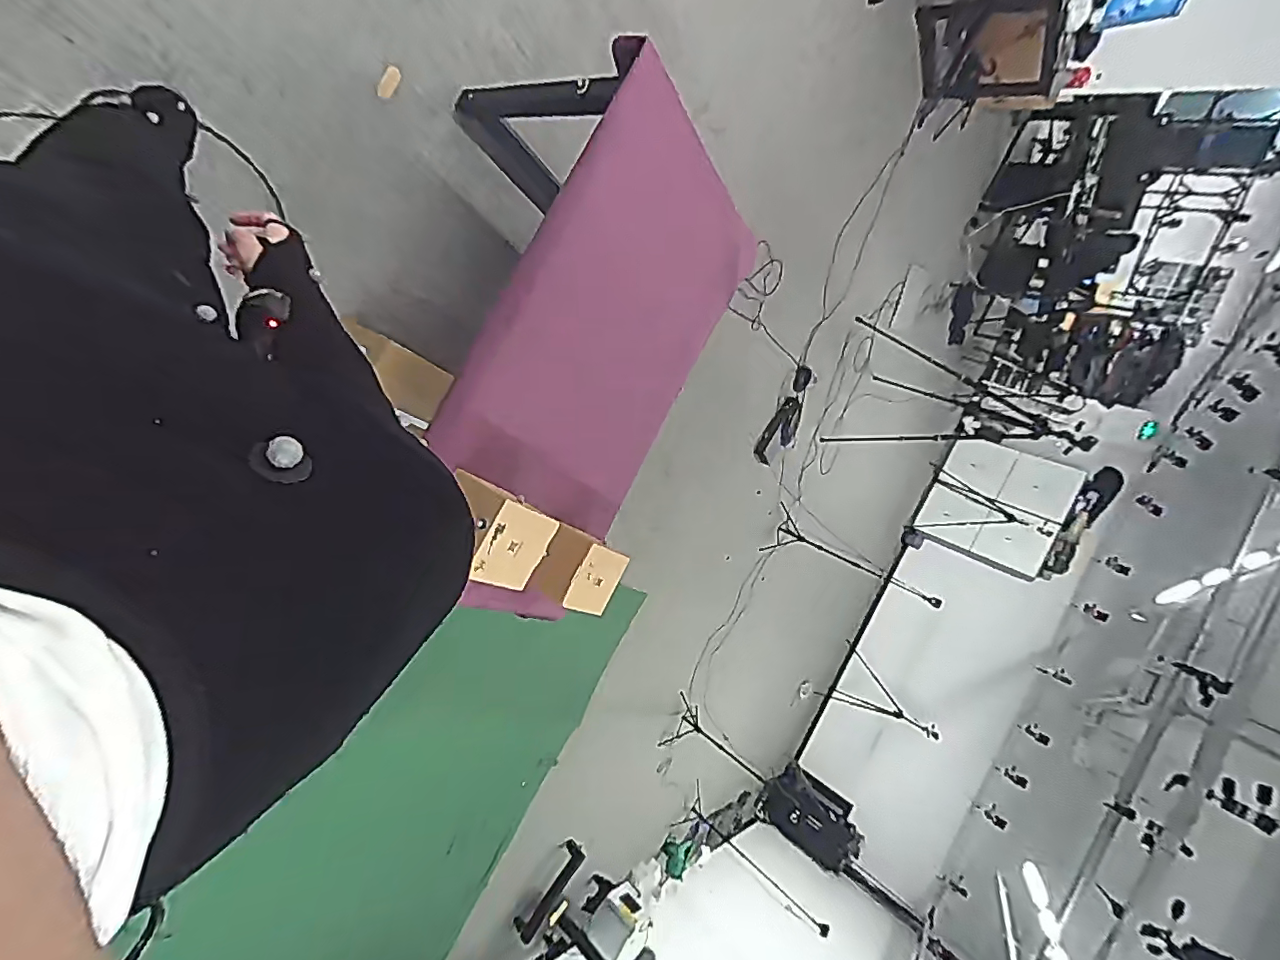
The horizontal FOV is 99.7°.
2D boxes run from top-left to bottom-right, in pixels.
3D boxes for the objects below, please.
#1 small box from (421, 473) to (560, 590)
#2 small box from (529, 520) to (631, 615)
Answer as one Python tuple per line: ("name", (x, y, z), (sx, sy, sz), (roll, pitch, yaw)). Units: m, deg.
("small box", (-0.304, 0.104, 1.109), (0.168, 0.176, 0.179), (-62, 147, -5))
("small box", (-0.159, 0.219, 1.363), (0.179, 0.176, 0.168), (35, 81, -53))
